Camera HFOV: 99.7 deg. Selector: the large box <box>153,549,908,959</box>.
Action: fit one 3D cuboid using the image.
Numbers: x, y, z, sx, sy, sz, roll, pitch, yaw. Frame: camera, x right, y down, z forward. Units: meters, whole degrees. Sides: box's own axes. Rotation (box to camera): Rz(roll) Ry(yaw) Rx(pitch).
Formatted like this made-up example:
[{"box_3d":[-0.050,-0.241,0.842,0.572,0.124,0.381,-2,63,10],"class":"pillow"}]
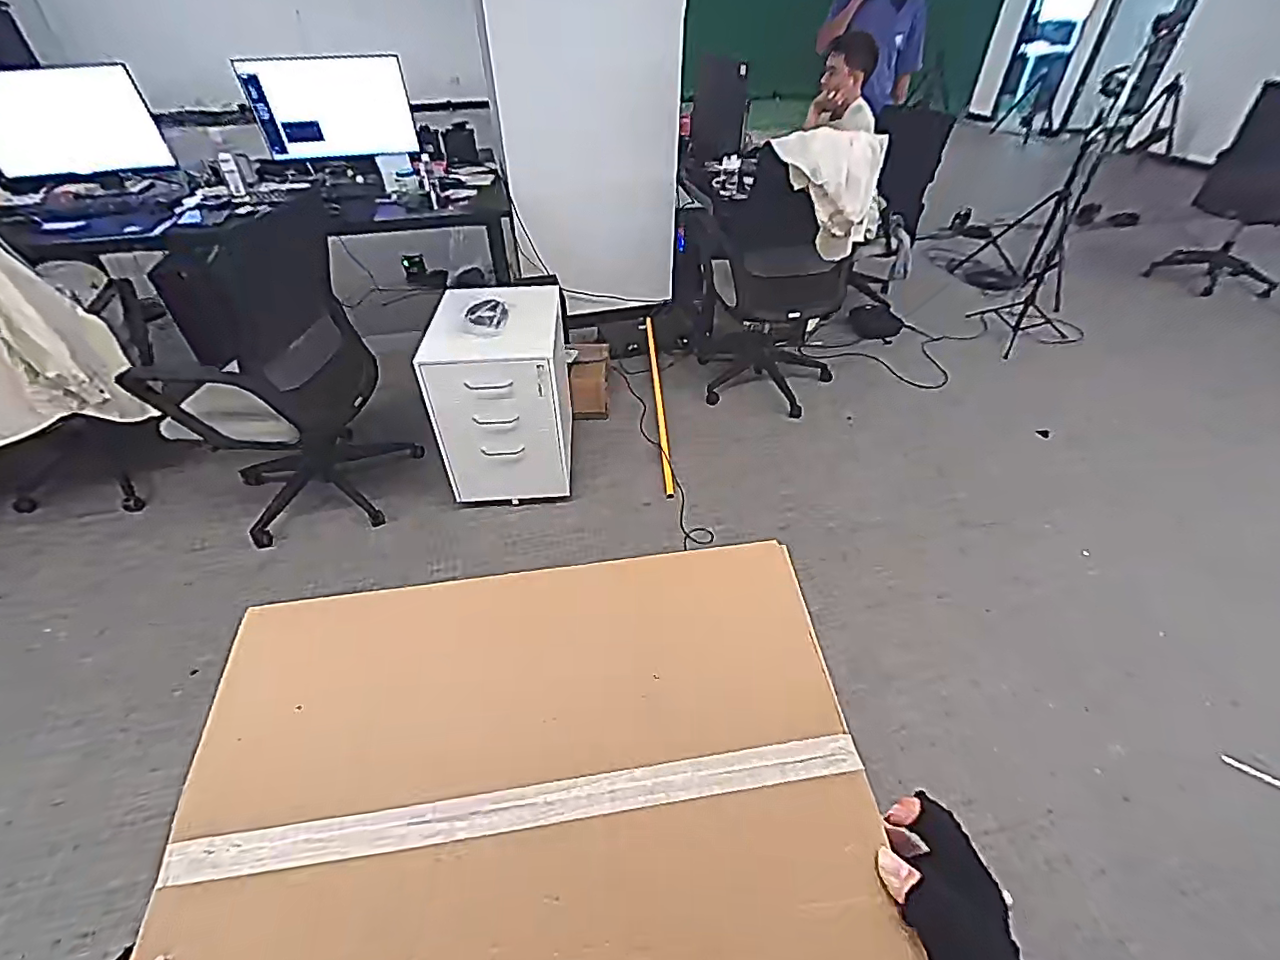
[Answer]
[{"box_3d":[-0.065,0.289,0.450,0.408,0.320,0.320,-7,52,-4],"class":"large box"}]
